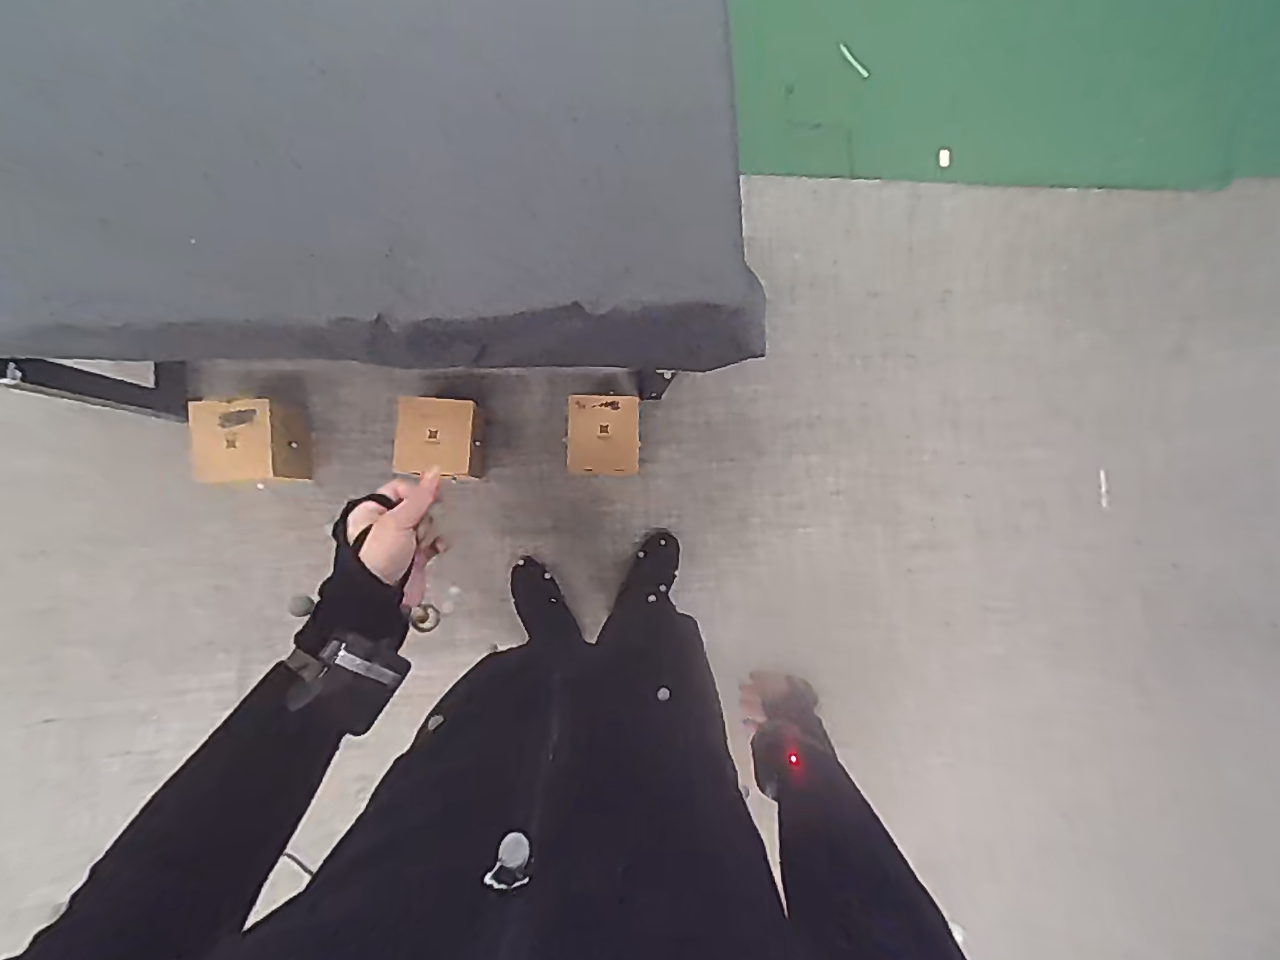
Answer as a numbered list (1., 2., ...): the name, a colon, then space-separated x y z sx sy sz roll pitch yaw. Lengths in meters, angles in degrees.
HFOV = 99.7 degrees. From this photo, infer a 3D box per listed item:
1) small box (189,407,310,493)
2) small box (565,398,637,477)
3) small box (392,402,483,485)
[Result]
1. small box: -0.883 -0.063 1.235 0.168 0.176 0.179 -4 89 -5
2. small box: -0.094 -0.097 1.318 0.168 0.176 0.179 0 86 -5
3. small box: -0.472 -0.080 1.280 0.168 0.176 0.179 2 86 -7
